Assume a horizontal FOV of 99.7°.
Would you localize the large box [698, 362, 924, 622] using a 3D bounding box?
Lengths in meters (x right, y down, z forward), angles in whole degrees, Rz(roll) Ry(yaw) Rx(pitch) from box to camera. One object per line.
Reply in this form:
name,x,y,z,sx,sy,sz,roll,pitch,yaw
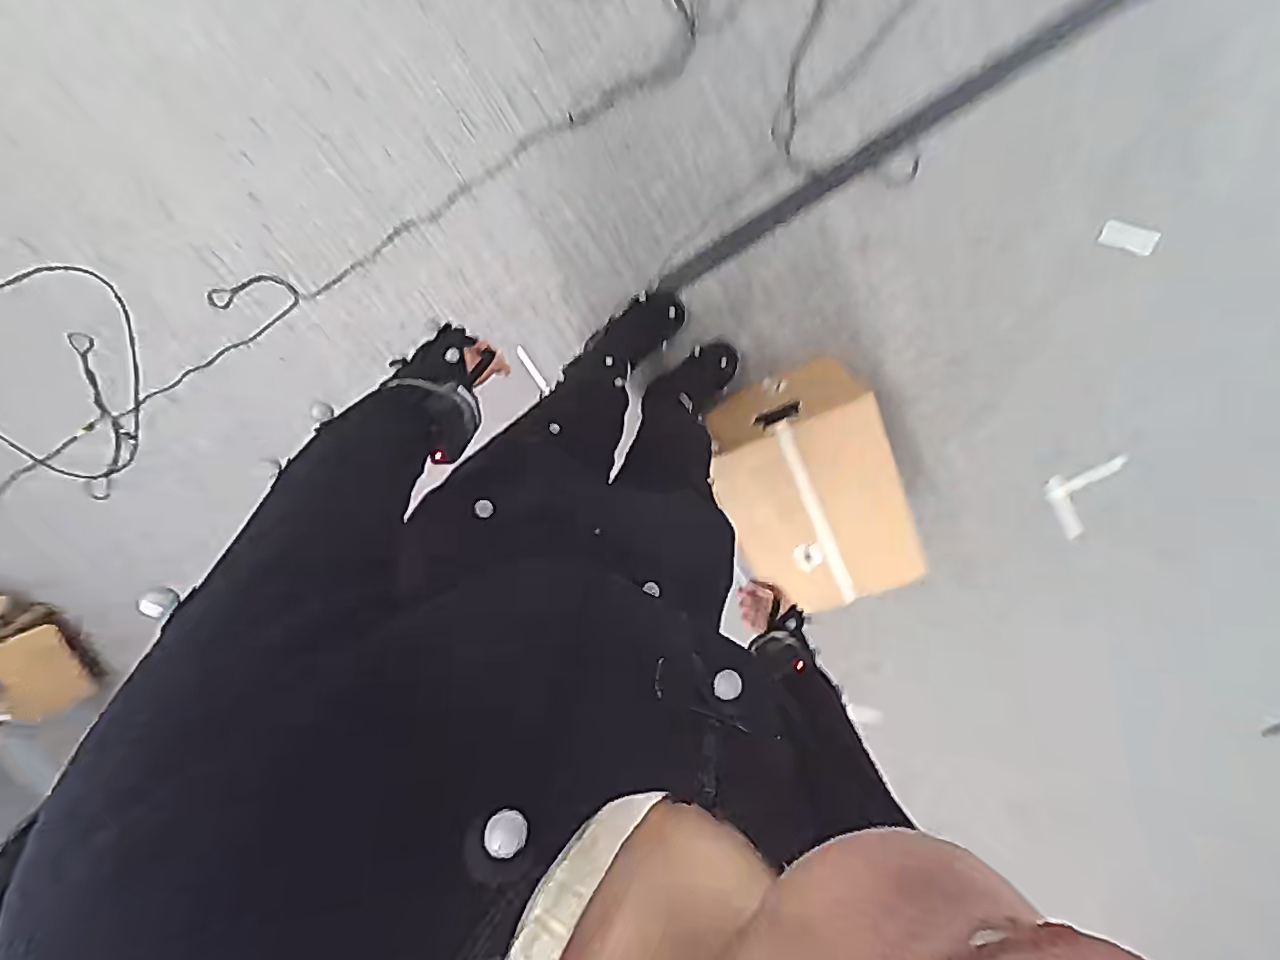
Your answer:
large box,0.345,0.018,1.163,0.320,0.320,0.408,-22,112,15
